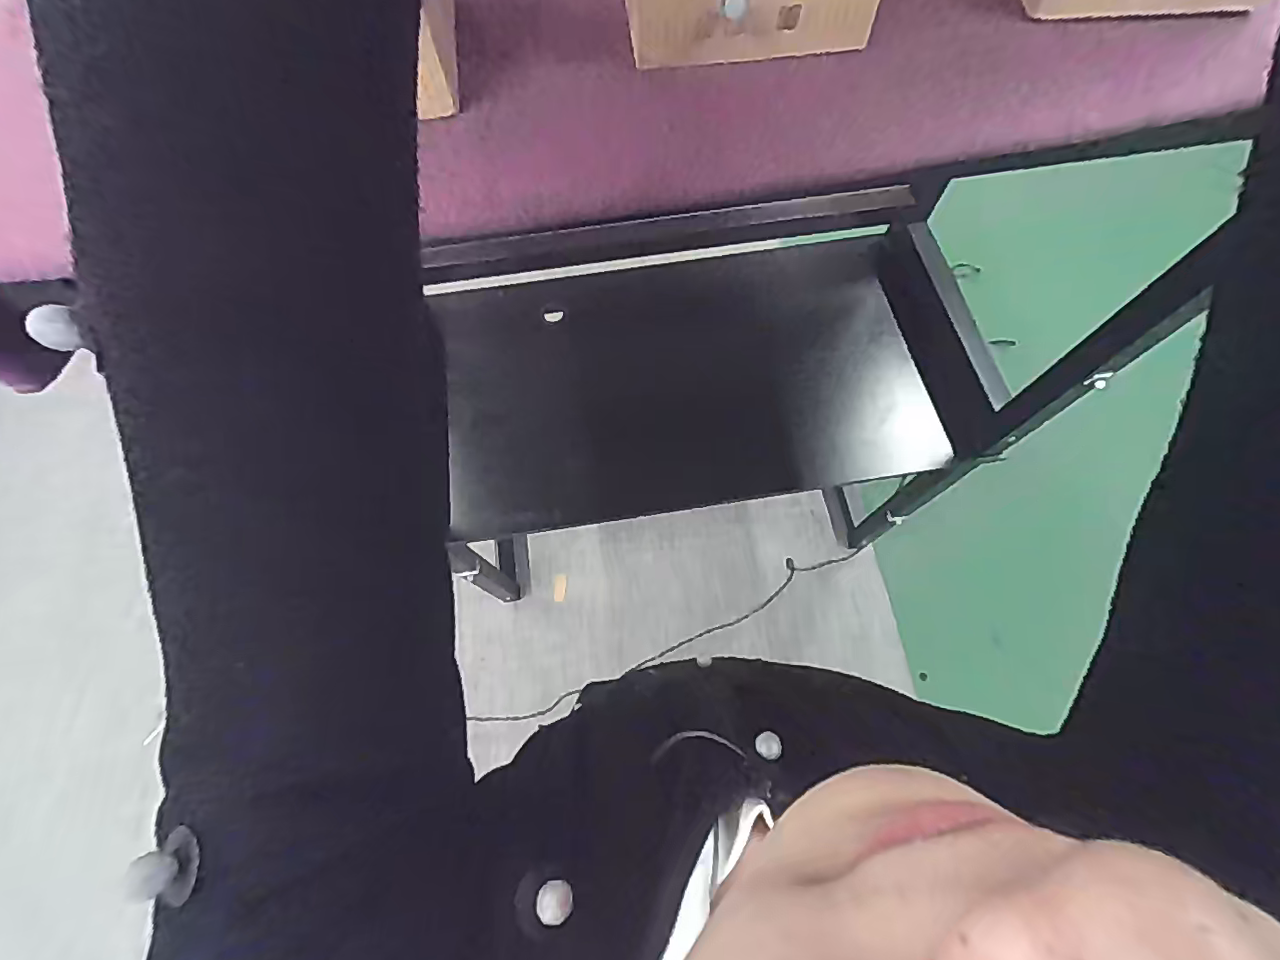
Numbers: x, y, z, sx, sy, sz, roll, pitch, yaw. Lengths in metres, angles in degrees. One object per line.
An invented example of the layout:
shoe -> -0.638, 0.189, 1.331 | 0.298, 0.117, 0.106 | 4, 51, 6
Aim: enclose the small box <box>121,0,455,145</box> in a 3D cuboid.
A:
small box -> -0.220, -0.344, 0.327 | 0.168, 0.176, 0.179 | -9, 68, -2
